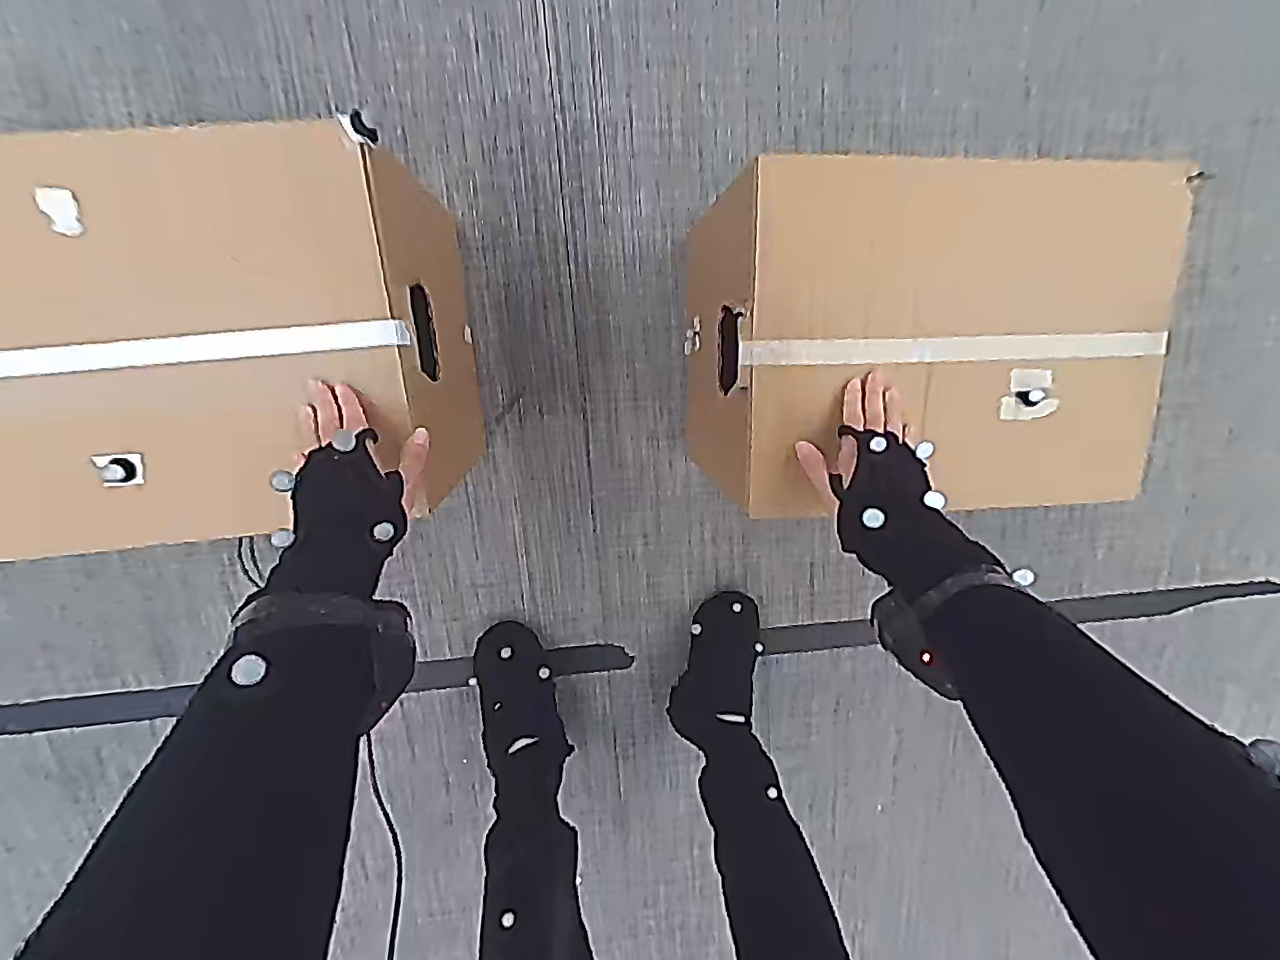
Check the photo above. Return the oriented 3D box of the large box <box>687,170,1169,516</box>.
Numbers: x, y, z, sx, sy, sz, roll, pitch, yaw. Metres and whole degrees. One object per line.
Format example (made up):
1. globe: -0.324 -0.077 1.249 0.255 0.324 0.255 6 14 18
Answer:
1. large box: 0.283 -0.155 0.658 0.408 0.320 0.320 -2 103 -6
